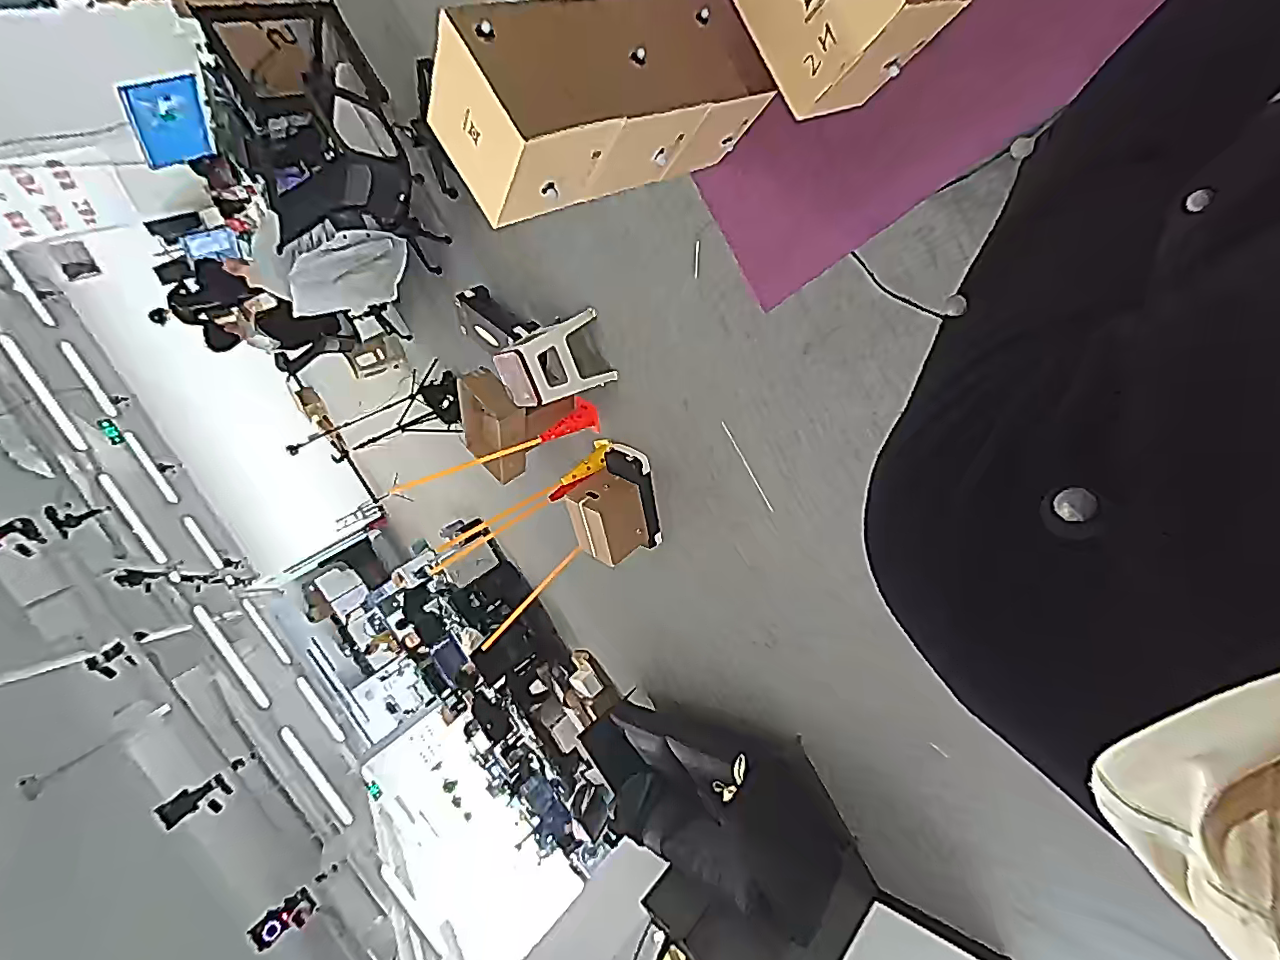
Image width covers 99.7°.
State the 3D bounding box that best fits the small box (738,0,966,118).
[{"bbox_3d":[0.264,-0.600,0.676,0.179,0.176,0.168,59,150,-6],"label":"small box"}]

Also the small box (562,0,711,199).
[{"bbox_3d":[-0.030,-0.563,0.807,0.179,0.176,0.168,58,150,-4],"label":"small box"}]

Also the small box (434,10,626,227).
[{"bbox_3d":[-0.147,-0.484,0.726,0.179,0.176,0.168,59,151,-3],"label":"small box"}]

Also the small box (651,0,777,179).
[{"bbox_3d":[0.087,-0.640,0.890,0.179,0.176,0.168,58,150,-5],"label":"small box"}]
